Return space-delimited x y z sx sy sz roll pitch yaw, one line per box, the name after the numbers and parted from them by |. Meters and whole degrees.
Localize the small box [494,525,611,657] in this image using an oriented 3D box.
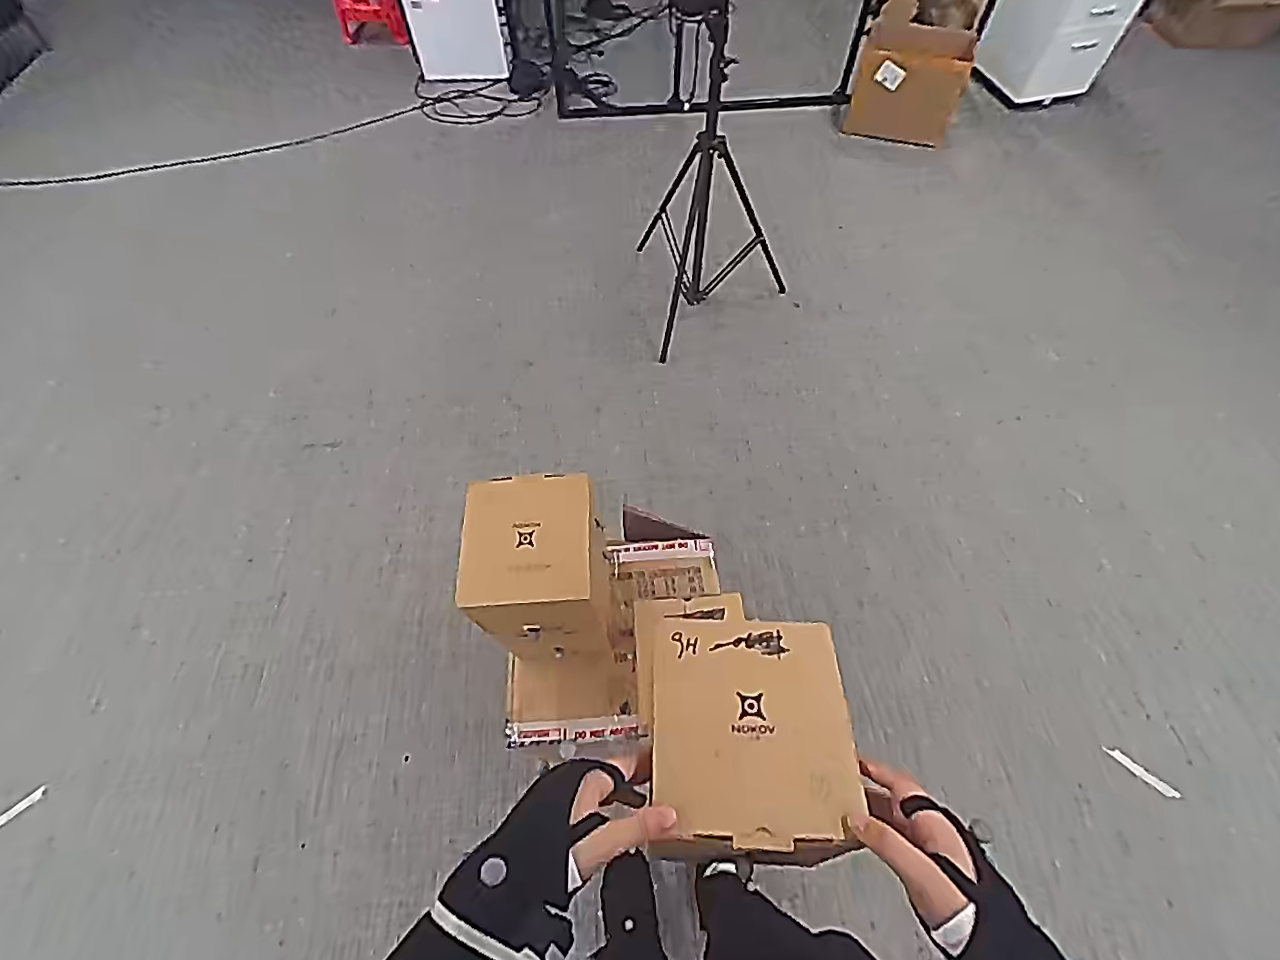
-0.138 0.188 0.908 0.168 0.176 0.179 -4 62 0 | small box

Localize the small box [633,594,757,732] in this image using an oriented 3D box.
0.074 0.291 0.850 0.168 0.176 0.179 -3 62 -2 | small box

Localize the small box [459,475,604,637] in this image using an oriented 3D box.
-0.141 0.112 0.764 0.168 0.176 0.179 -4 62 1 | small box
